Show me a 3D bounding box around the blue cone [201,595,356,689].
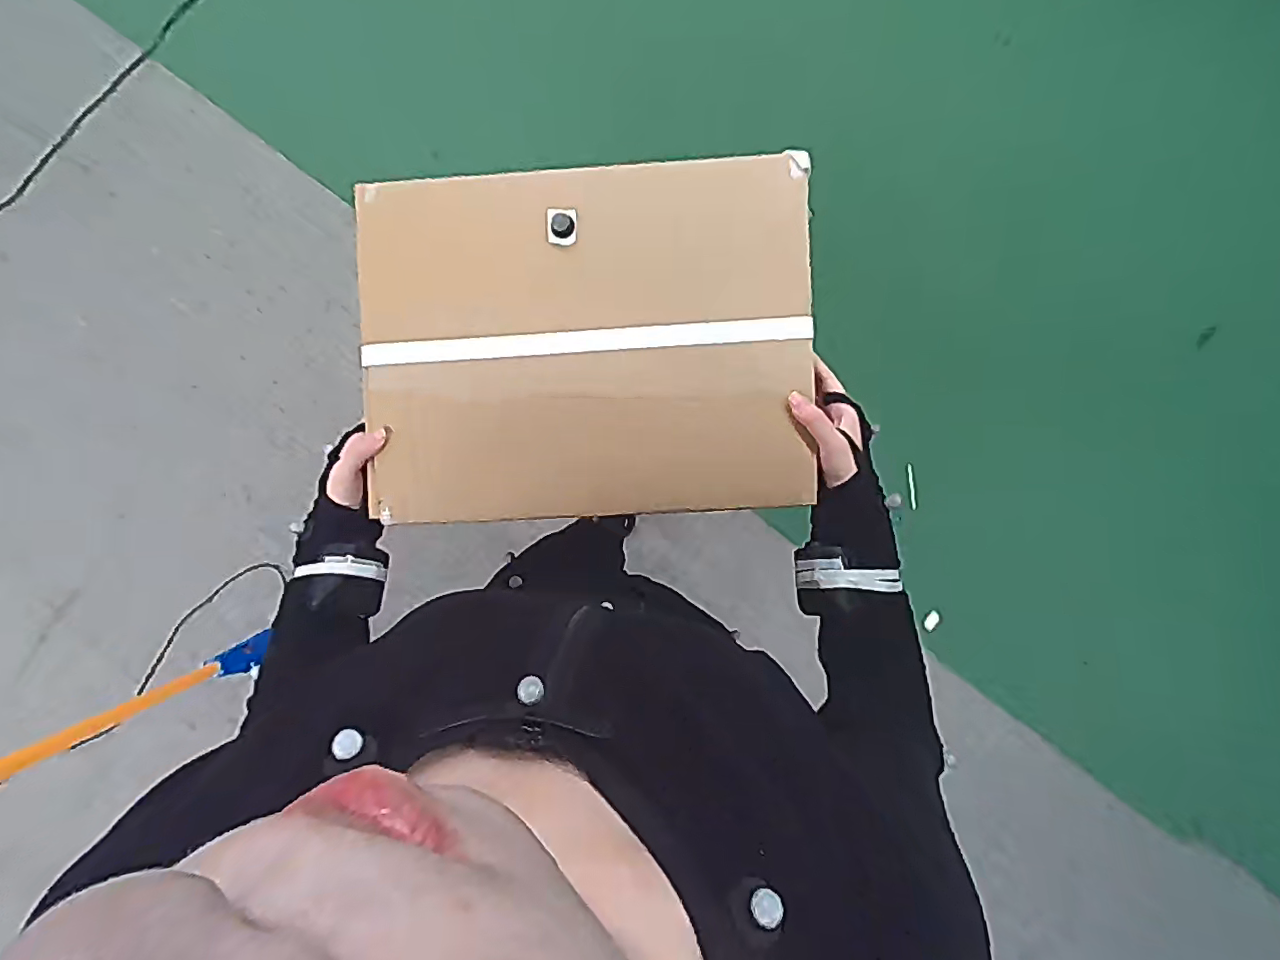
[{"bbox_3d":[-0.845,0.397,1.239,0.193,0.380,0.192,35,84,-1],"label":"blue cone"}]
